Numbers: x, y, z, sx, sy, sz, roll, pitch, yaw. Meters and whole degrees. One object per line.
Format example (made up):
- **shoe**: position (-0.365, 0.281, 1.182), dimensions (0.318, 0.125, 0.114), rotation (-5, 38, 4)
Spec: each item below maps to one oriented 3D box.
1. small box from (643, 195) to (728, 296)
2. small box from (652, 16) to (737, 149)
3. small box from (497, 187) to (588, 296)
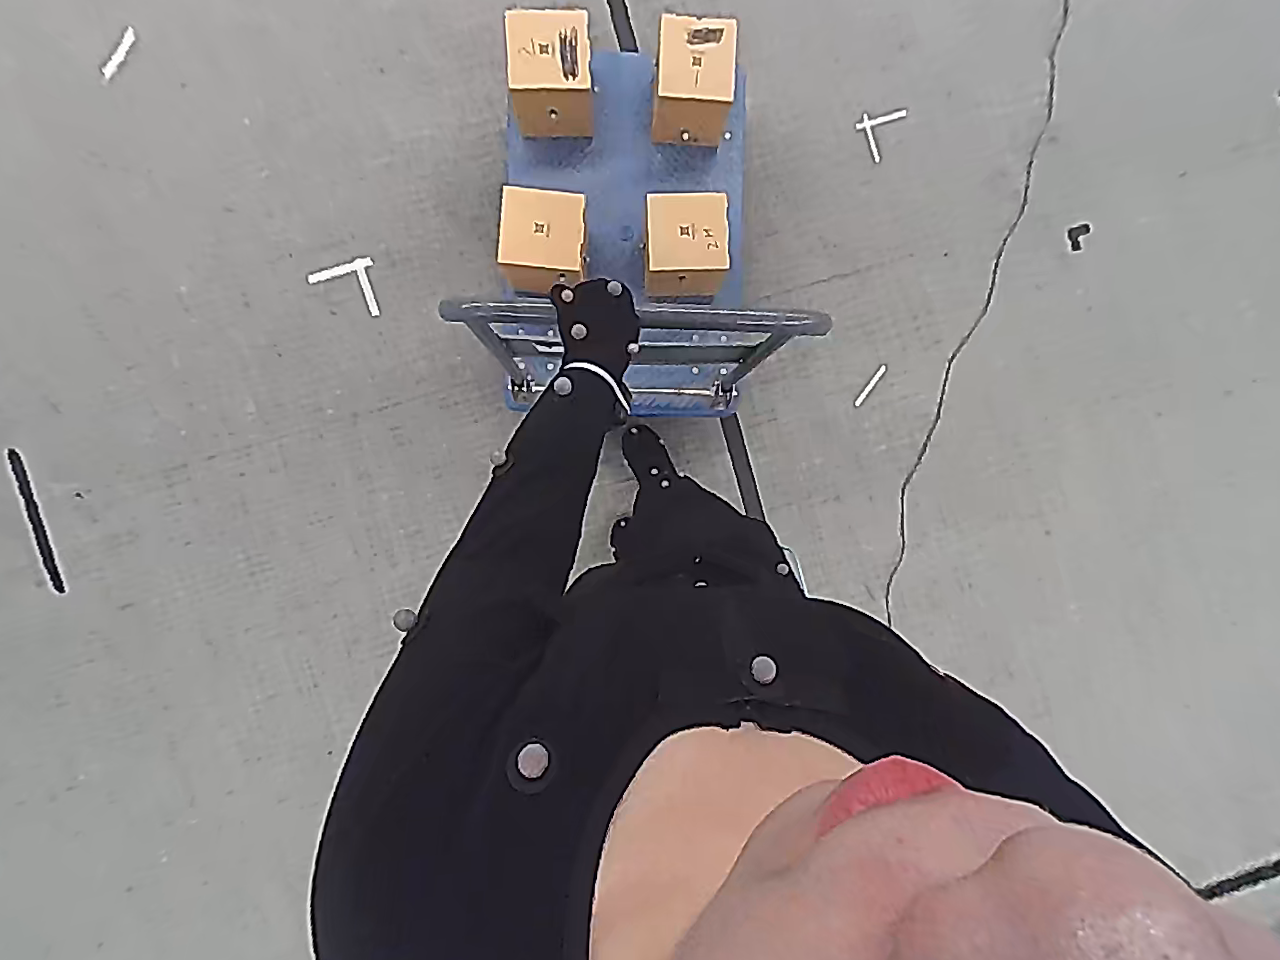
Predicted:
- **small box**: position (0.097, -0.527, 1.234), dimensions (0.179, 0.176, 0.168), rotation (-2, 91, -3)
- **small box**: position (0.117, -0.897, 1.233), dimensions (0.168, 0.176, 0.179), rotation (2, 91, -3)
- **small box**: position (-0.213, -0.526, 1.217), dimensions (0.179, 0.176, 0.168), rotation (4, 90, -5)
